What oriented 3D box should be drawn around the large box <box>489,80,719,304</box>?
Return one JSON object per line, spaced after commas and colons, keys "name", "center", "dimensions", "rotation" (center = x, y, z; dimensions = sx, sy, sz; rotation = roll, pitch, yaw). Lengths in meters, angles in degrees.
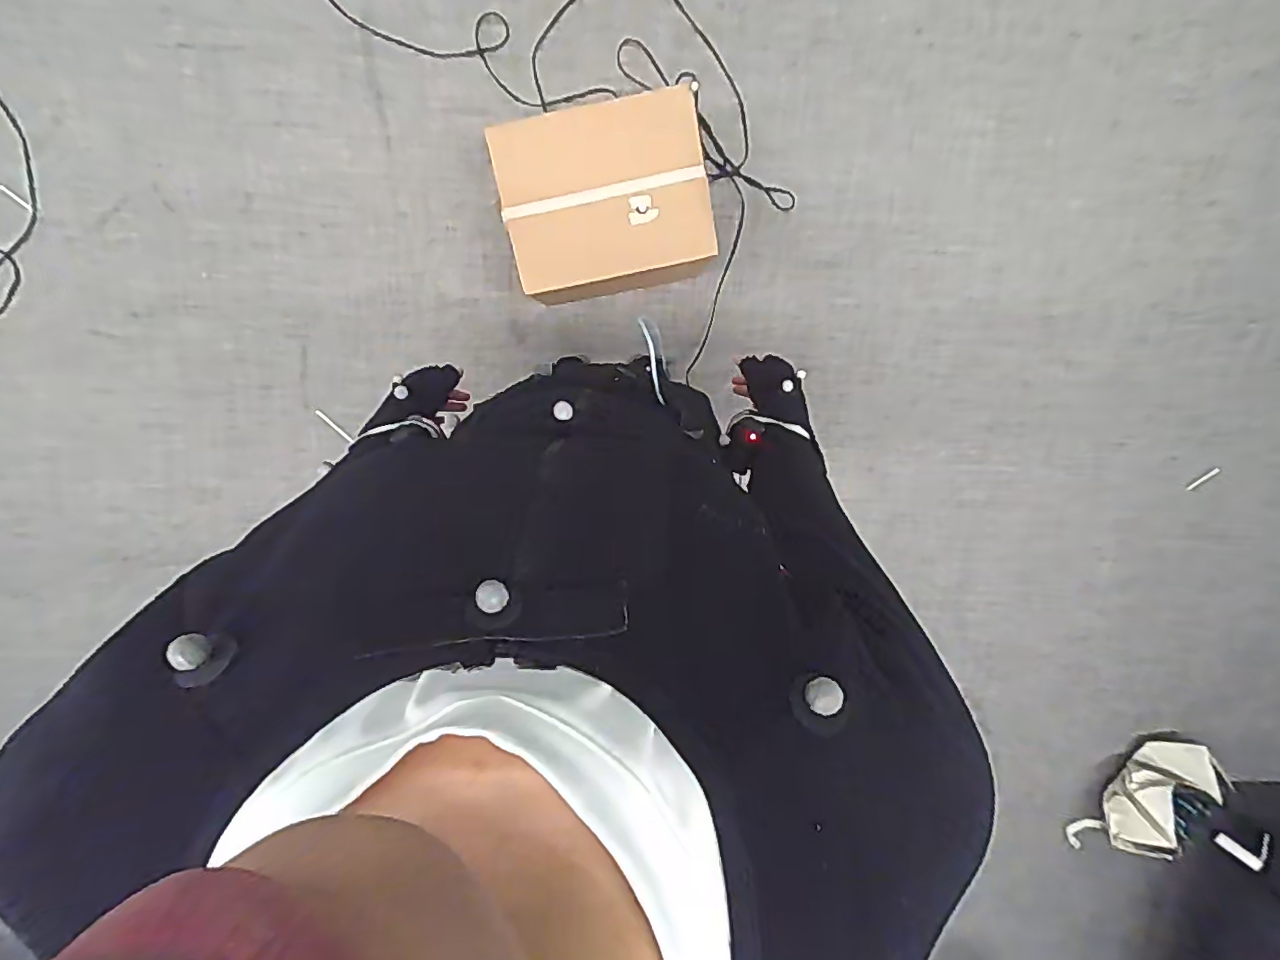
{"name": "large box", "center": [-0.072, -0.601, 1.201], "dimensions": [0.408, 0.320, 0.320], "rotation": [-12, 104, 0]}
